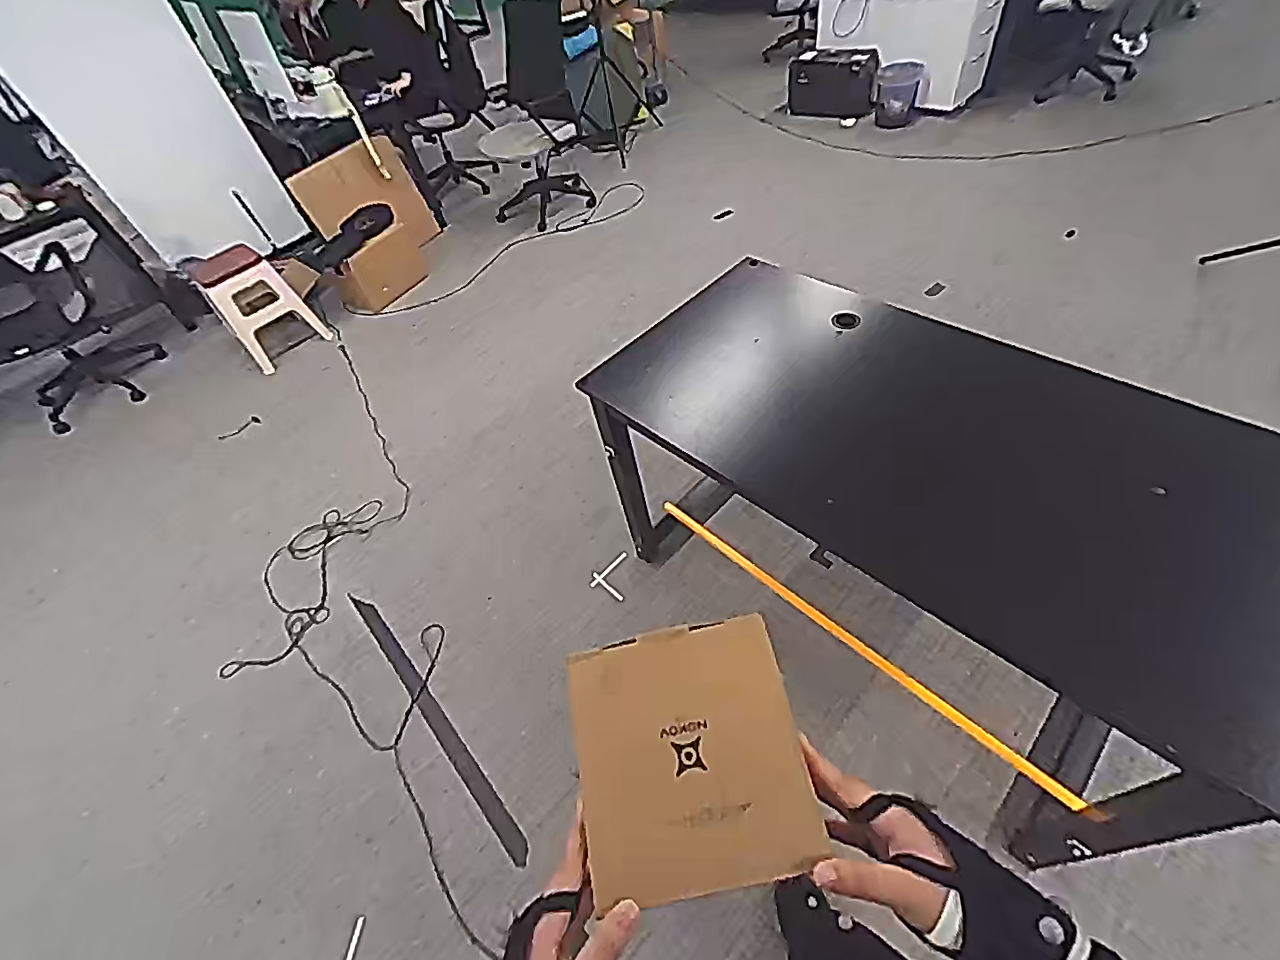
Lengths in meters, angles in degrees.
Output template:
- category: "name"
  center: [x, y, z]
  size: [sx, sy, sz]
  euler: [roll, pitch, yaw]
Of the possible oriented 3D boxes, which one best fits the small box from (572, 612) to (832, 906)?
- category: "small box"
  center: [0.044, 0.236, 0.473]
  size: [0.168, 0.176, 0.179]
  euler: [-12, 61, 1]
